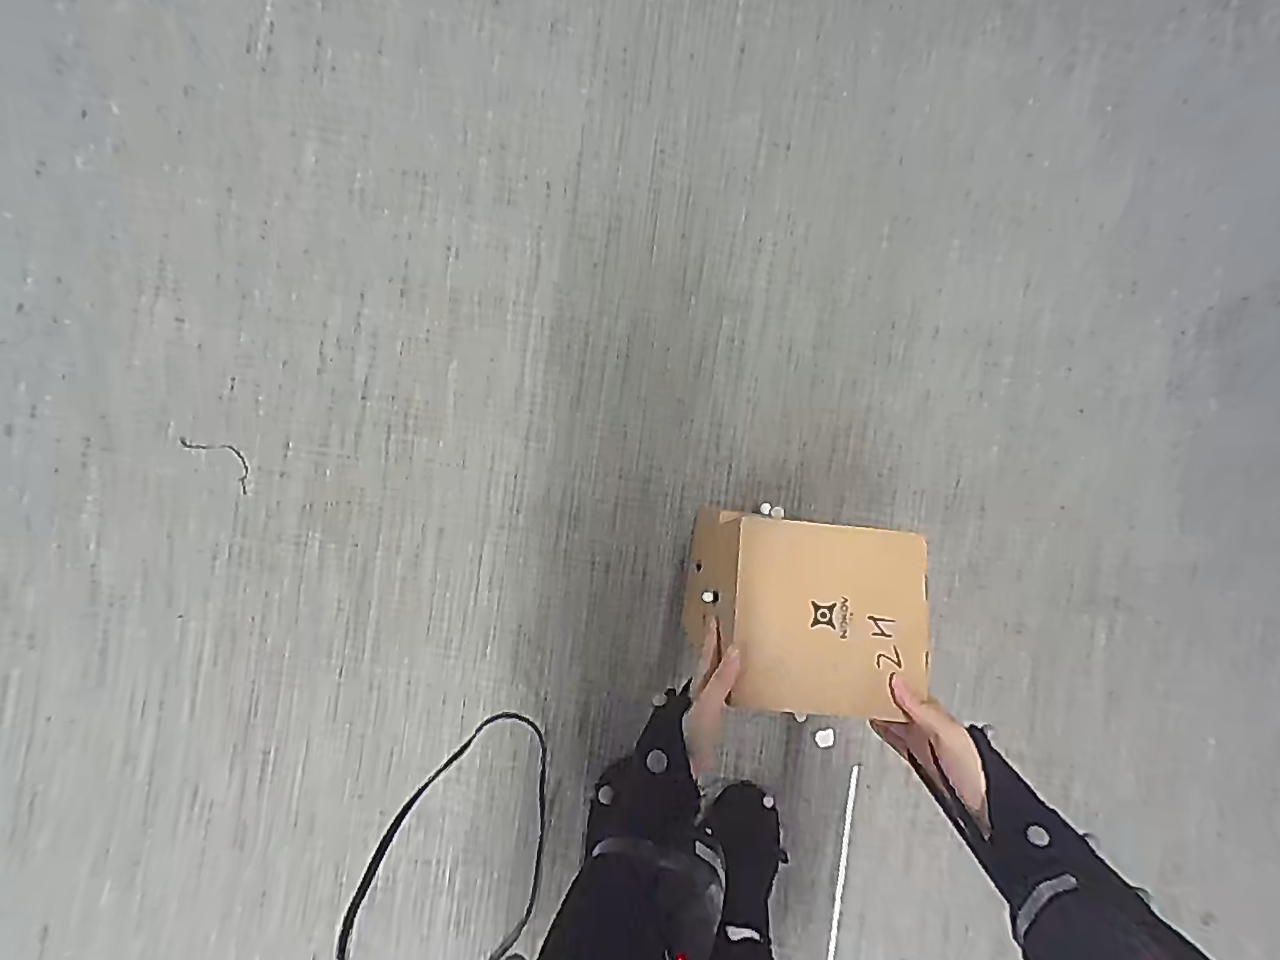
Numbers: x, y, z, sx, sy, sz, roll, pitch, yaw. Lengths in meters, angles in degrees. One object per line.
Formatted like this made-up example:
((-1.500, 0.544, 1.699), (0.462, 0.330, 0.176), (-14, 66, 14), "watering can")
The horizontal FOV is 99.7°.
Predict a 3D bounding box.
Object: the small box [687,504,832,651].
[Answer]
((0.161, 0.131, 0.723), (0.168, 0.176, 0.179), (9, 89, -3), "small box")

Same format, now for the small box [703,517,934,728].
((0.165, 0.134, 0.547), (0.179, 0.176, 0.168), (6, 81, -3), "small box")
